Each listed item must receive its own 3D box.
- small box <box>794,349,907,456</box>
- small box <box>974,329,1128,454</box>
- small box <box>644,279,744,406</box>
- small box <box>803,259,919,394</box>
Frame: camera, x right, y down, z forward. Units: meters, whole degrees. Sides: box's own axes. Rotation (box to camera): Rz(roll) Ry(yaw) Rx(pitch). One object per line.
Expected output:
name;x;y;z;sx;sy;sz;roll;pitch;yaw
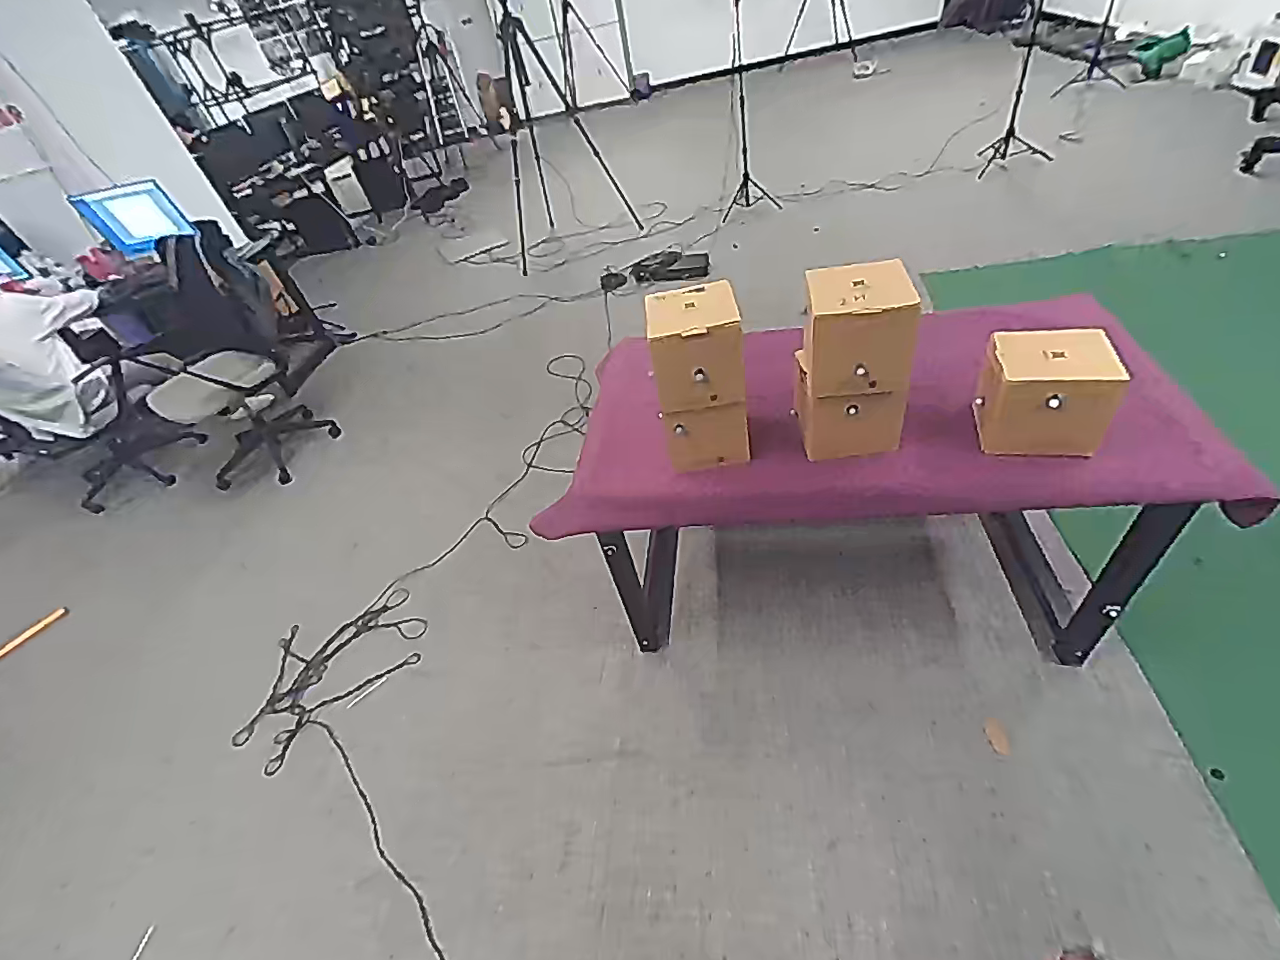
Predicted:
small box;0.416;-0.164;1.098;0.179;0.176;0.168;-7;43;8
small box;0.742;-0.161;1.000;0.179;0.176;0.168;3;45;21
small box;0.103;-0.257;1.040;0.168;0.176;0.179;-8;44;7
small box;0.387;-0.275;0.979;0.168;0.176;0.179;-3;45;13
